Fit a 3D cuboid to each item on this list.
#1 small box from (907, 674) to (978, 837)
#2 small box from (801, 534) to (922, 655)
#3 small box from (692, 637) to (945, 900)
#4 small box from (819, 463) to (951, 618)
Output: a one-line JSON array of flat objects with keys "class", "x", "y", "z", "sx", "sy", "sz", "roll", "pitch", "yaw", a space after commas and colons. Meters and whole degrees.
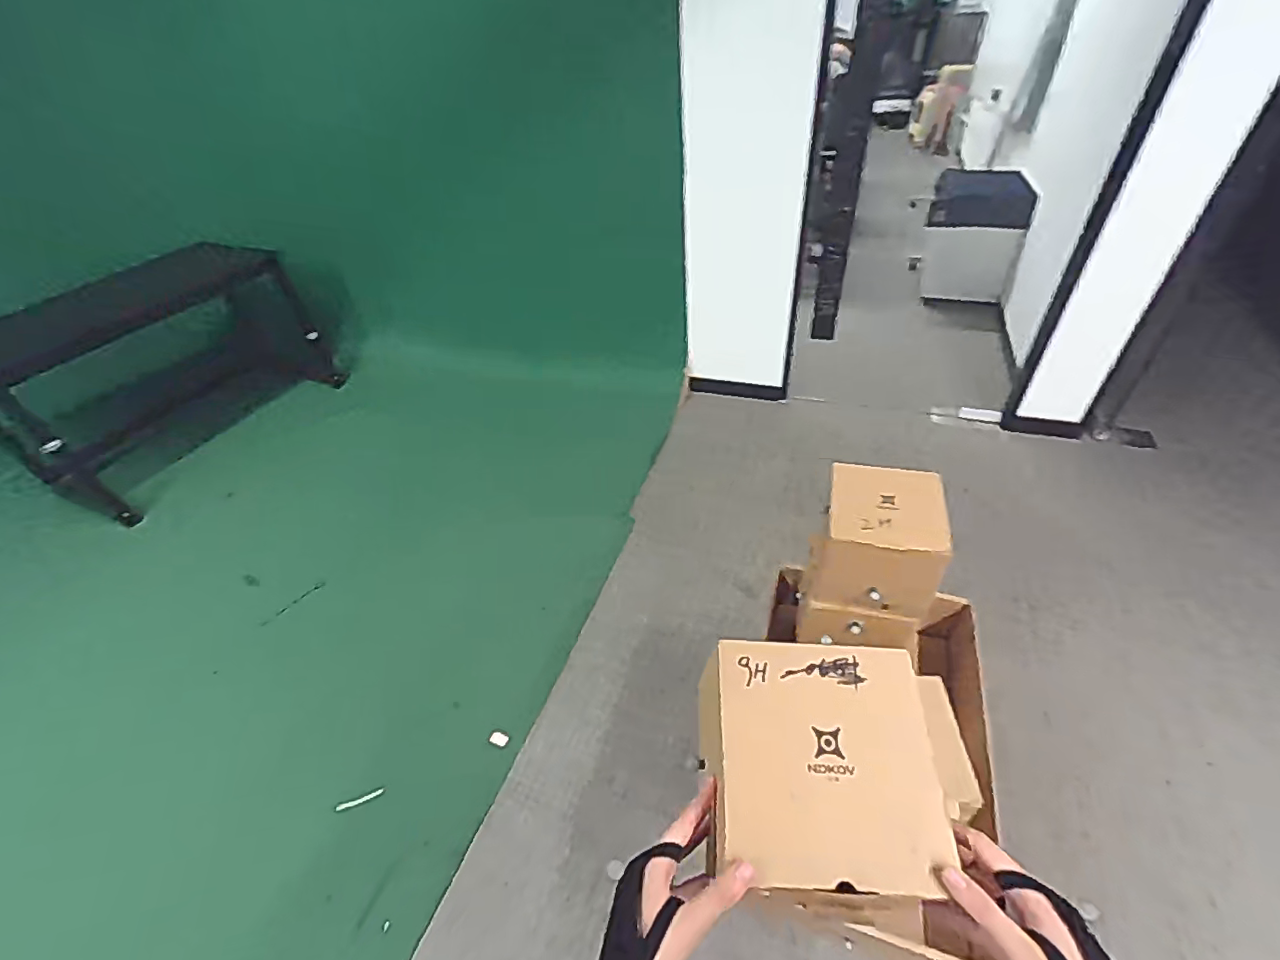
[{"class": "small box", "x": 0.363, "y": 0.409, "z": 0.805, "sx": 0.168, "sy": 0.176, "sz": 0.179, "roll": 1, "pitch": 42, "yaw": 7}, {"class": "small box", "x": 0.400, "y": 0.224, "z": 1.001, "sx": 0.179, "sy": 0.176, "sz": 0.168, "roll": 6, "pitch": 44, "yaw": 15}, {"class": "small box", "x": 0.139, "y": 0.256, "z": 0.492, "sx": 0.168, "sy": 0.176, "sz": 0.179, "roll": 3, "pitch": 58, "yaw": 1}, {"class": "small box", "x": 0.394, "y": 0.097, "z": 0.895, "sx": 0.168, "sy": 0.176, "sz": 0.179, "roll": 7, "pitch": 45, "yaw": 16}]
